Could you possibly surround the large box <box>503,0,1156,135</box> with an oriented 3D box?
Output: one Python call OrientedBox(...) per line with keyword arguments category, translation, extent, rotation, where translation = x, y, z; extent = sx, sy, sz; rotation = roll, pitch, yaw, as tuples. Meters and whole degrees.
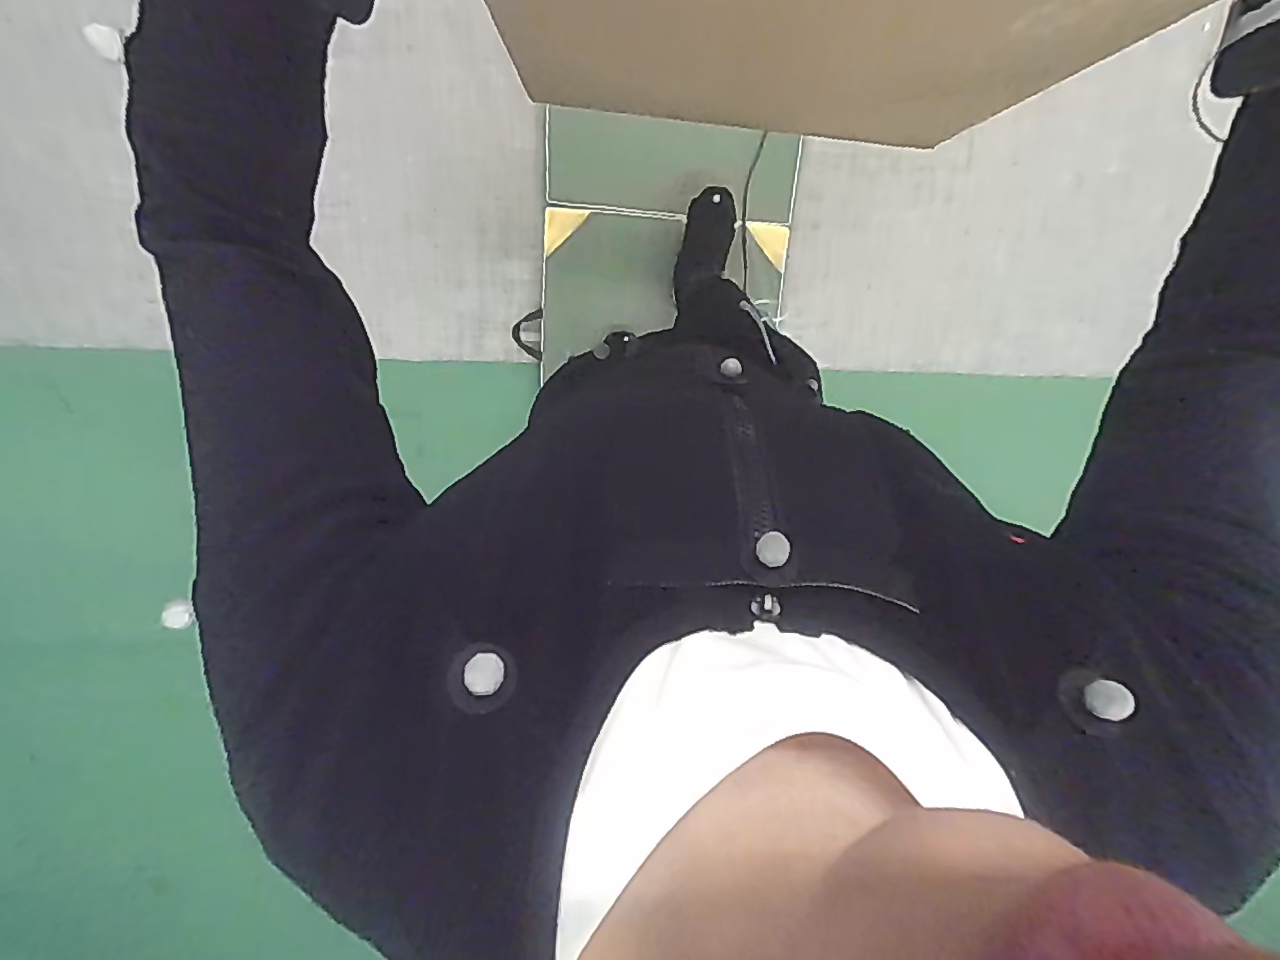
OrientedBox(category="large box", translation=(0.111, -0.456, 0.346), extent=(0.408, 0.320, 0.320), rotation=(4, 108, -4))
